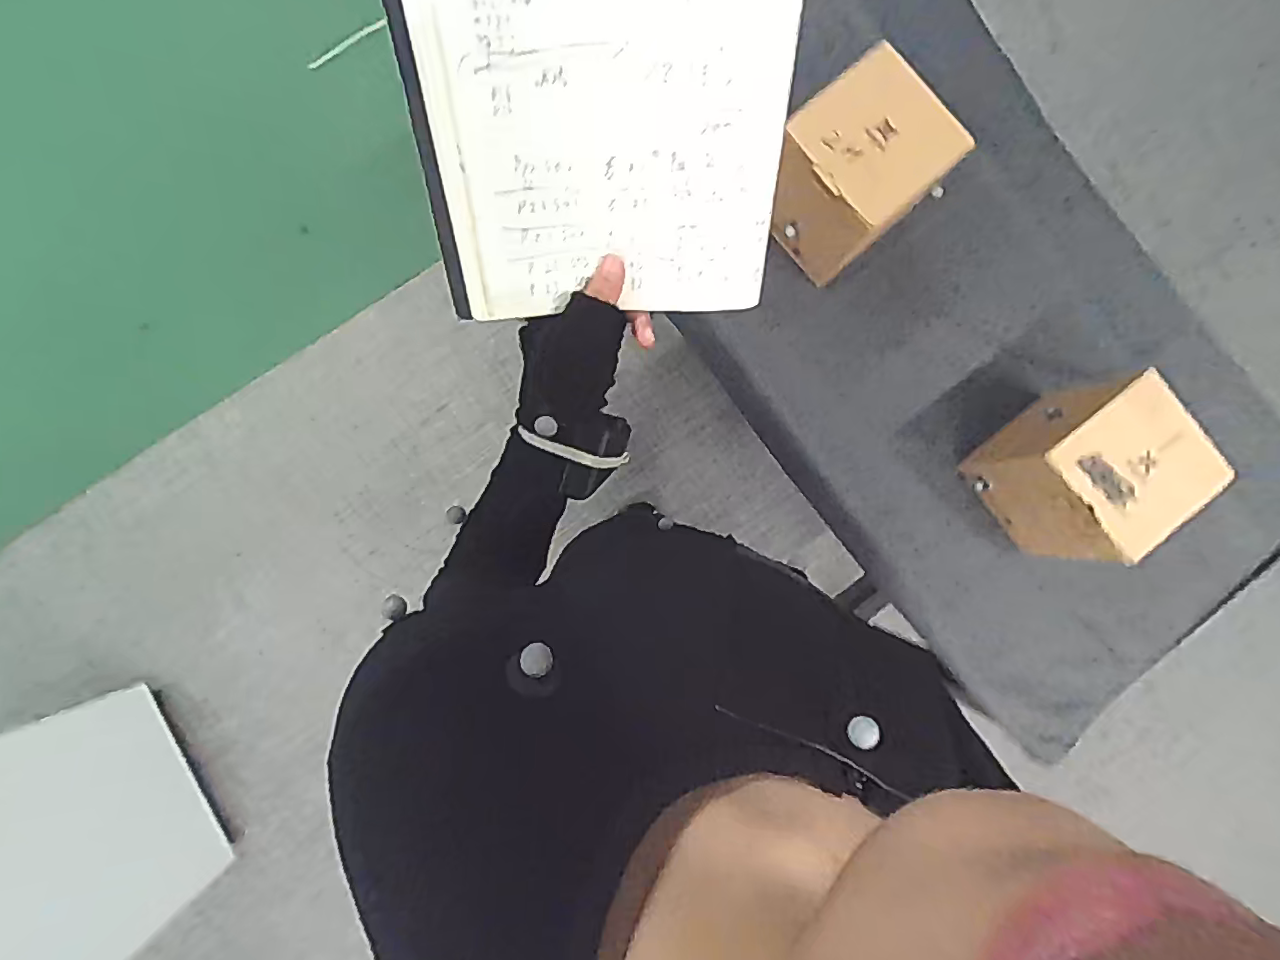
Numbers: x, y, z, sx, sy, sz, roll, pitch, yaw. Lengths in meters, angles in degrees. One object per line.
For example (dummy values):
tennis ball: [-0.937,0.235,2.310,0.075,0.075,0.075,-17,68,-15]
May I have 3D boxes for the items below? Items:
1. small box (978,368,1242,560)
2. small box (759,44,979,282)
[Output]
small box: [0.592,-0.013,0.714,0.179,0.176,0.168,-37,89,-5]
small box: [0.287,-0.405,0.721,0.179,0.176,0.168,-41,89,-4]
